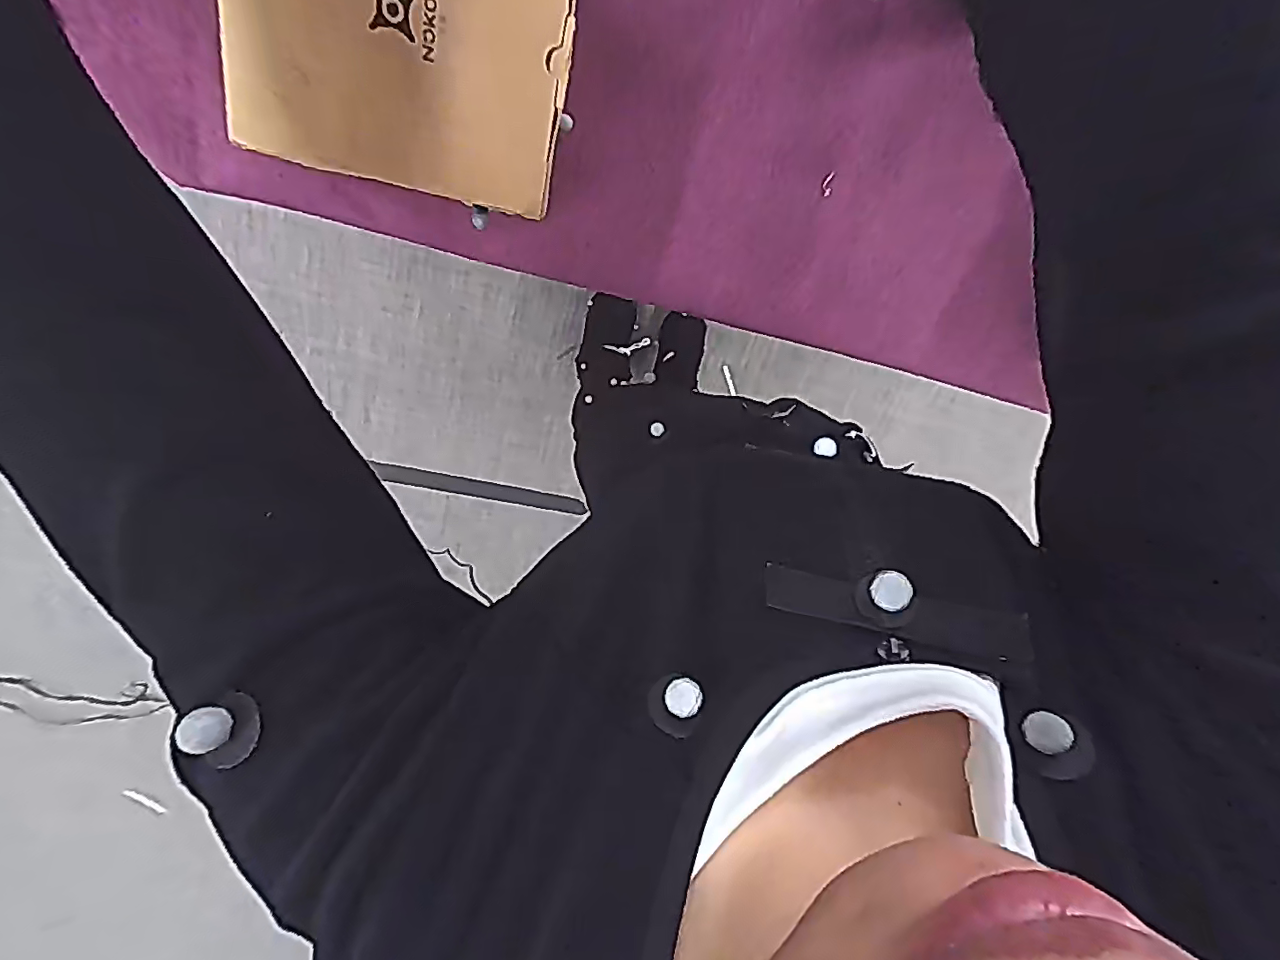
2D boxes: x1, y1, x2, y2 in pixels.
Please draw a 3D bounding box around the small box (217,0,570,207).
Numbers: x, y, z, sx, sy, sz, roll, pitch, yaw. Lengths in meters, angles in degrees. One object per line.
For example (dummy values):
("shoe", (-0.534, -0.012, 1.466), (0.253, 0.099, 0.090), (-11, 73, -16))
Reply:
("small box", (-0.142, -0.288, 0.359), (0.179, 0.176, 0.168), (6, 114, -14))
